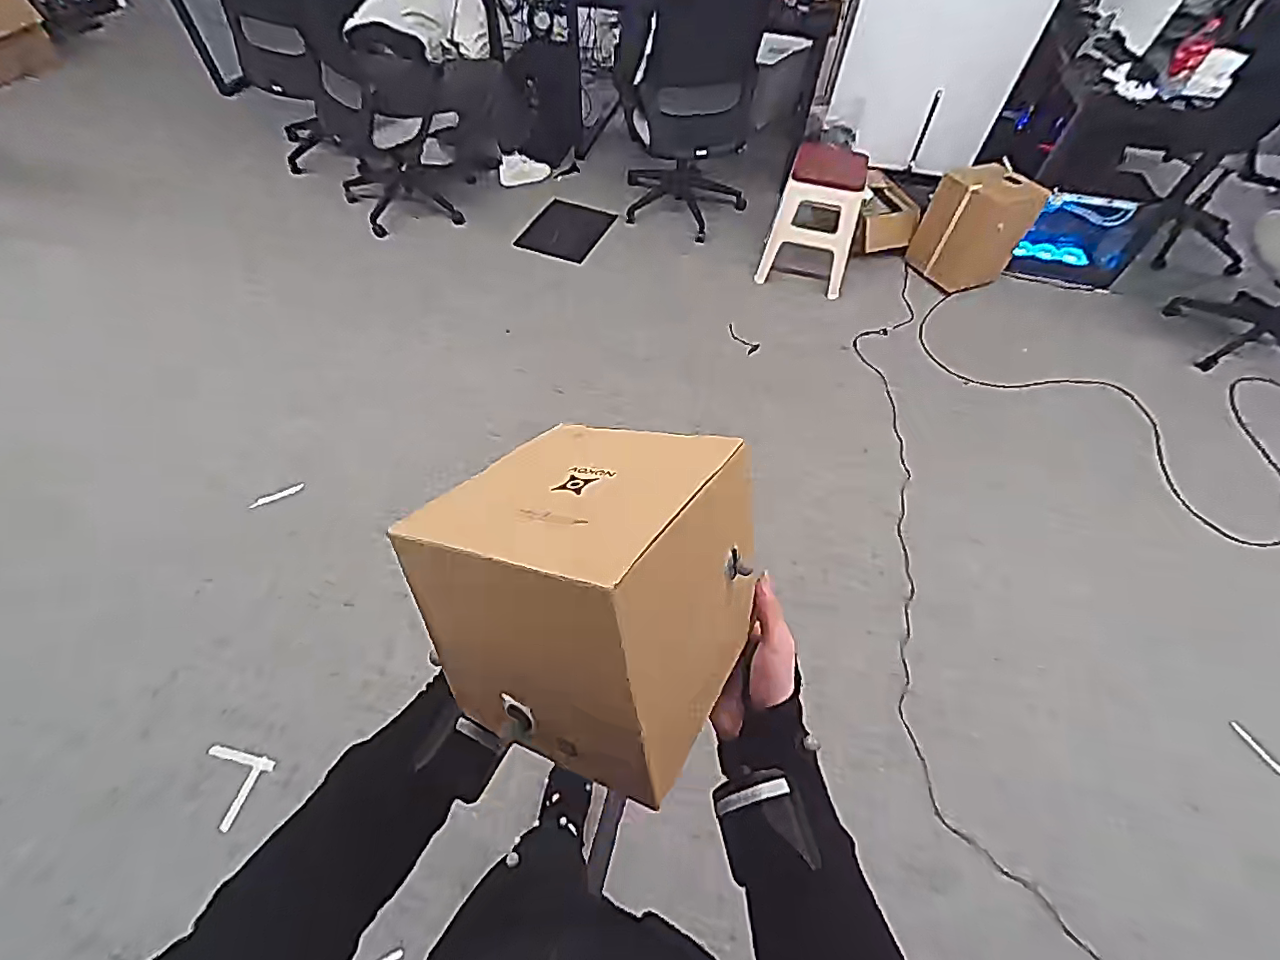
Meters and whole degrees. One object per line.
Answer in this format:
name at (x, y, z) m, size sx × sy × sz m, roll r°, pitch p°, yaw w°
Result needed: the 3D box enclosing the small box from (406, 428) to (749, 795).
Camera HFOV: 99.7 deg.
small box at (-0.025, 0.076, 0.392) m, size 0.168 × 0.176 × 0.179 m, roll 6°, pitch 32°, yaw 30°
